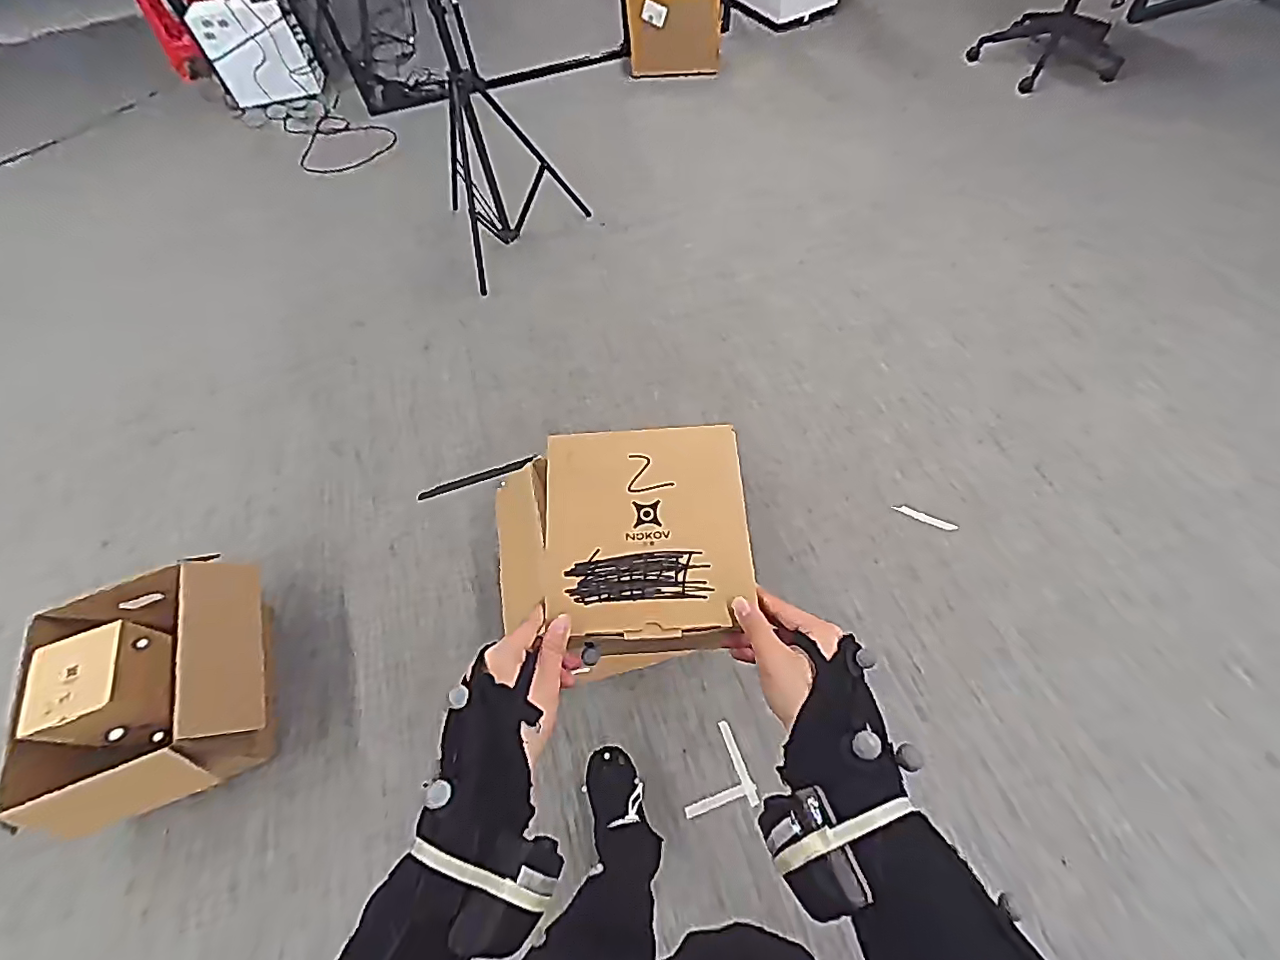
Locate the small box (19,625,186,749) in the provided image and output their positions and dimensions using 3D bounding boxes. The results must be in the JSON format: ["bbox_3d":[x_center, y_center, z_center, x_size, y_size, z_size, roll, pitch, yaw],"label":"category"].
[{"bbox_3d":[-1.078,0.427,1.105,0.168,0.176,0.179,-20,60,-7],"label":"small box"}]
